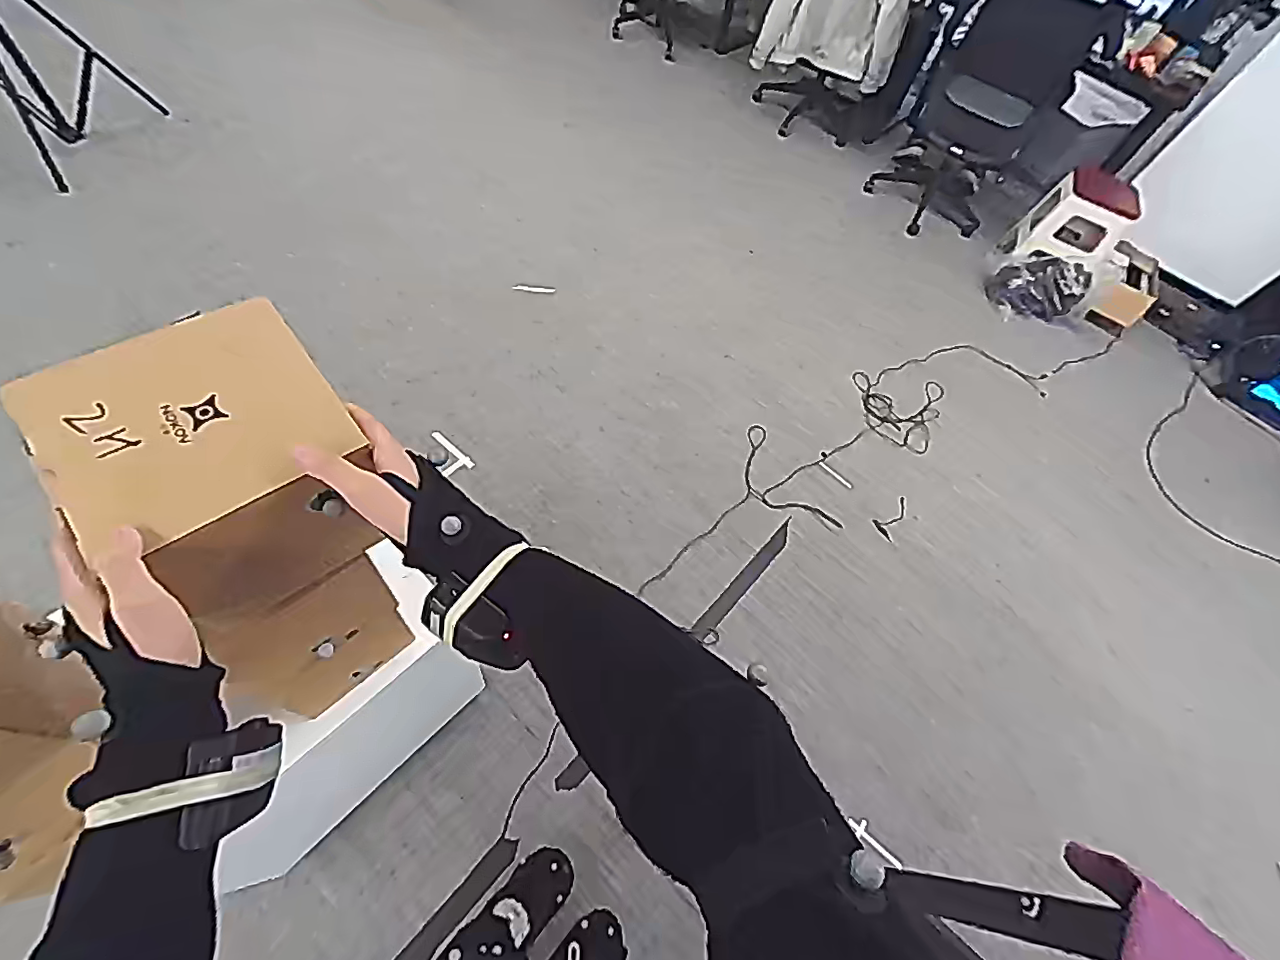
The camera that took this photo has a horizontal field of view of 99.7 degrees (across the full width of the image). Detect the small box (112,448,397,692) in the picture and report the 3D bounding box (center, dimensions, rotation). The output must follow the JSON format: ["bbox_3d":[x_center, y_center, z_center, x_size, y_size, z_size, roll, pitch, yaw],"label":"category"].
[{"bbox_3d":[-0.400,0.105,0.594,0.179,0.176,0.168,44,61,14],"label":"small box"}]

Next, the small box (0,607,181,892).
[{"bbox_3d":[-0.570,0.243,0.478,0.179,0.176,0.168,40,60,14],"label":"small box"}]

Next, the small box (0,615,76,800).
[{"bbox_3d":[-0.543,0.157,0.343,0.179,0.176,0.168,40,61,13],"label":"small box"}]

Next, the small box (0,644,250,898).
[{"bbox_3d":[-0.600,0.326,0.615,0.179,0.176,0.168,41,60,15],"label":"small box"}]
